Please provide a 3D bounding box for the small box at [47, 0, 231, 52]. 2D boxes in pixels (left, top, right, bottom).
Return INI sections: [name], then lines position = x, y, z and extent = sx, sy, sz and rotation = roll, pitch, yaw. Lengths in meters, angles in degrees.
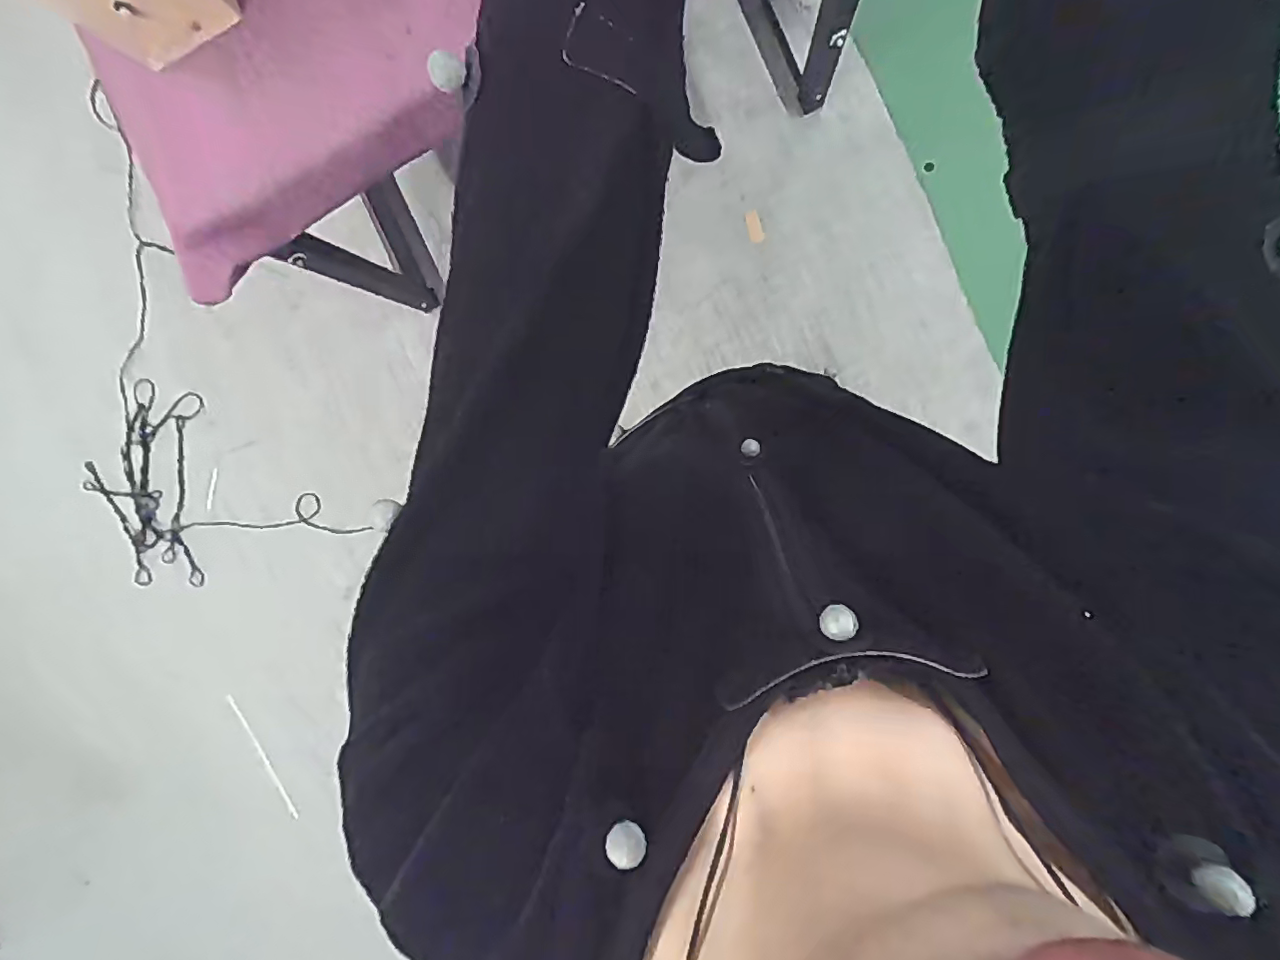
[small box]
position = -0.696, -0.717, 0.711
extent = 0.168, 0.176, 0.179
rotation = -21, 93, 9
